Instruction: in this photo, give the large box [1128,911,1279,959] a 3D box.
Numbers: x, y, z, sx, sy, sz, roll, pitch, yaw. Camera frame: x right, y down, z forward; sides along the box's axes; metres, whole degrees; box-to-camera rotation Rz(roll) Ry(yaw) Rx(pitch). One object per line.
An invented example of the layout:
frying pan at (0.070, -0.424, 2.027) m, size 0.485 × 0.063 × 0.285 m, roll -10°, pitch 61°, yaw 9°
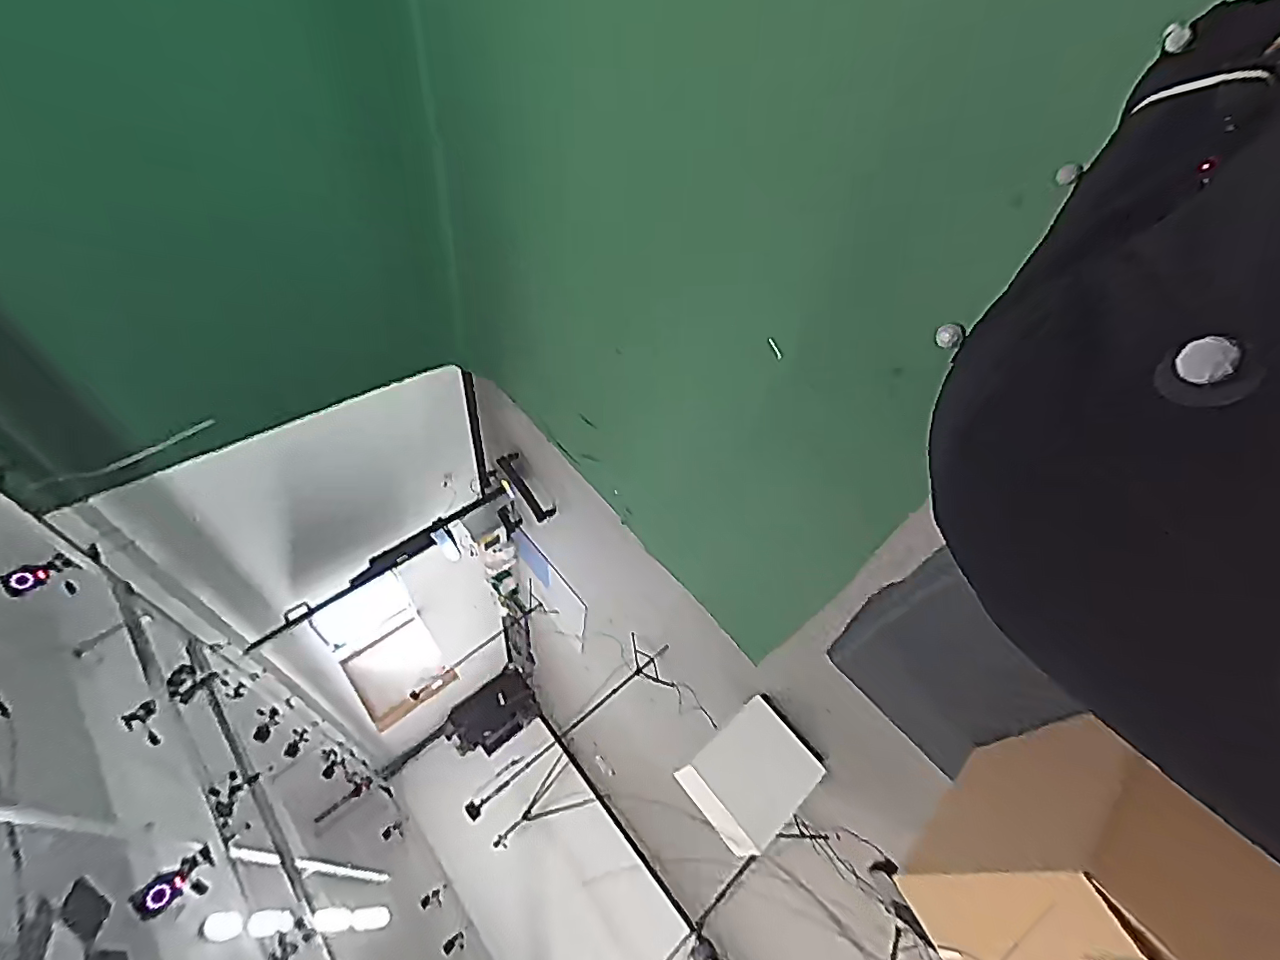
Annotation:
large box at (0.870, 0.780, 0.640) m, size 0.320 × 0.320 × 0.408 m, roll 45°, pitch 147°, yaw 23°
